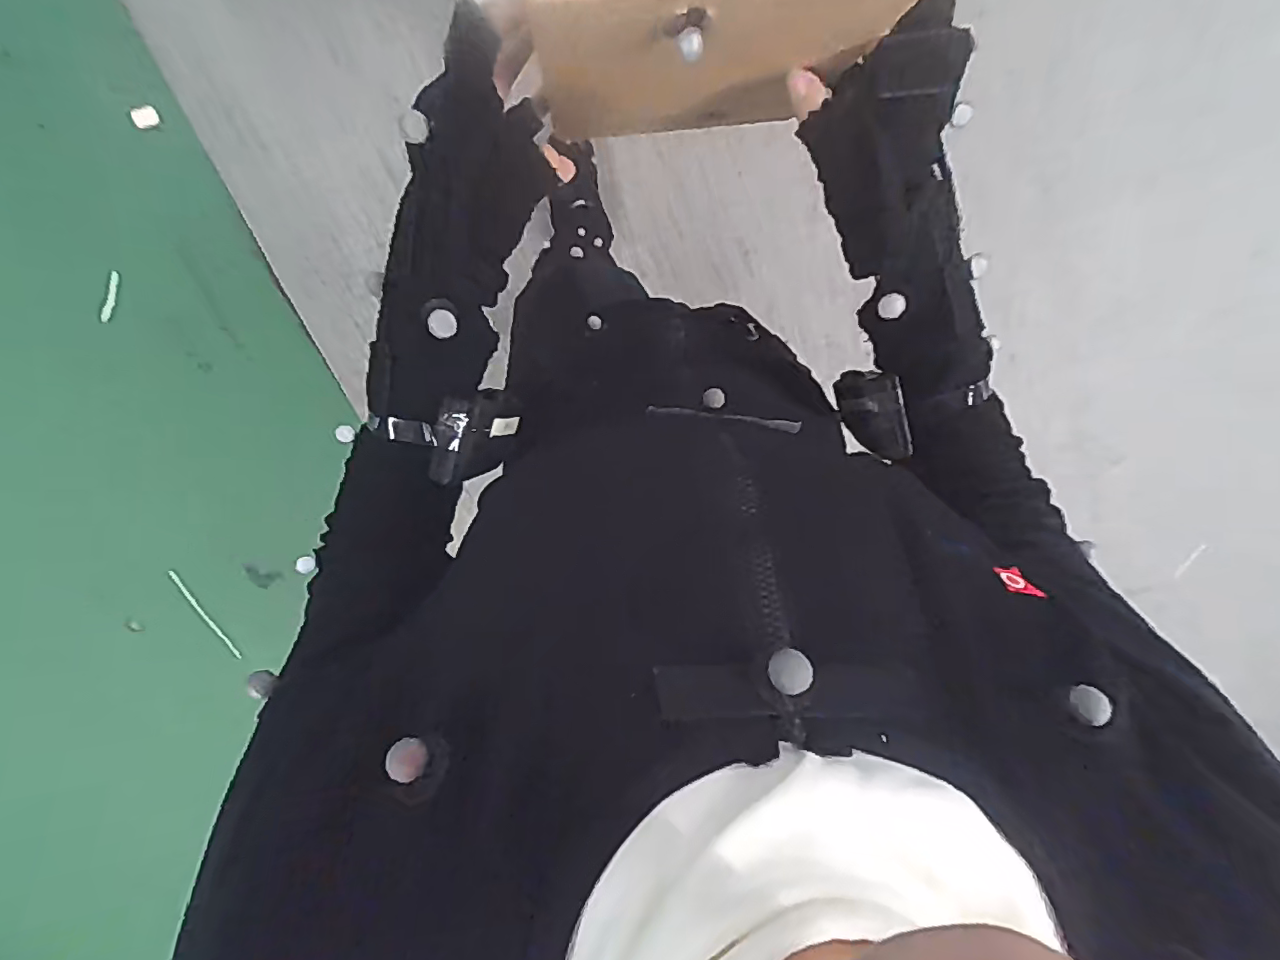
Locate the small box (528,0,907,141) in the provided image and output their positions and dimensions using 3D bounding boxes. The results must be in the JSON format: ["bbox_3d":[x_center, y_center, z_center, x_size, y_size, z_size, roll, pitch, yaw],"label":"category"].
[{"bbox_3d":[0.022,-0.294,0.260,0.168,0.176,0.179,-7,107,-2],"label":"small box"}]
